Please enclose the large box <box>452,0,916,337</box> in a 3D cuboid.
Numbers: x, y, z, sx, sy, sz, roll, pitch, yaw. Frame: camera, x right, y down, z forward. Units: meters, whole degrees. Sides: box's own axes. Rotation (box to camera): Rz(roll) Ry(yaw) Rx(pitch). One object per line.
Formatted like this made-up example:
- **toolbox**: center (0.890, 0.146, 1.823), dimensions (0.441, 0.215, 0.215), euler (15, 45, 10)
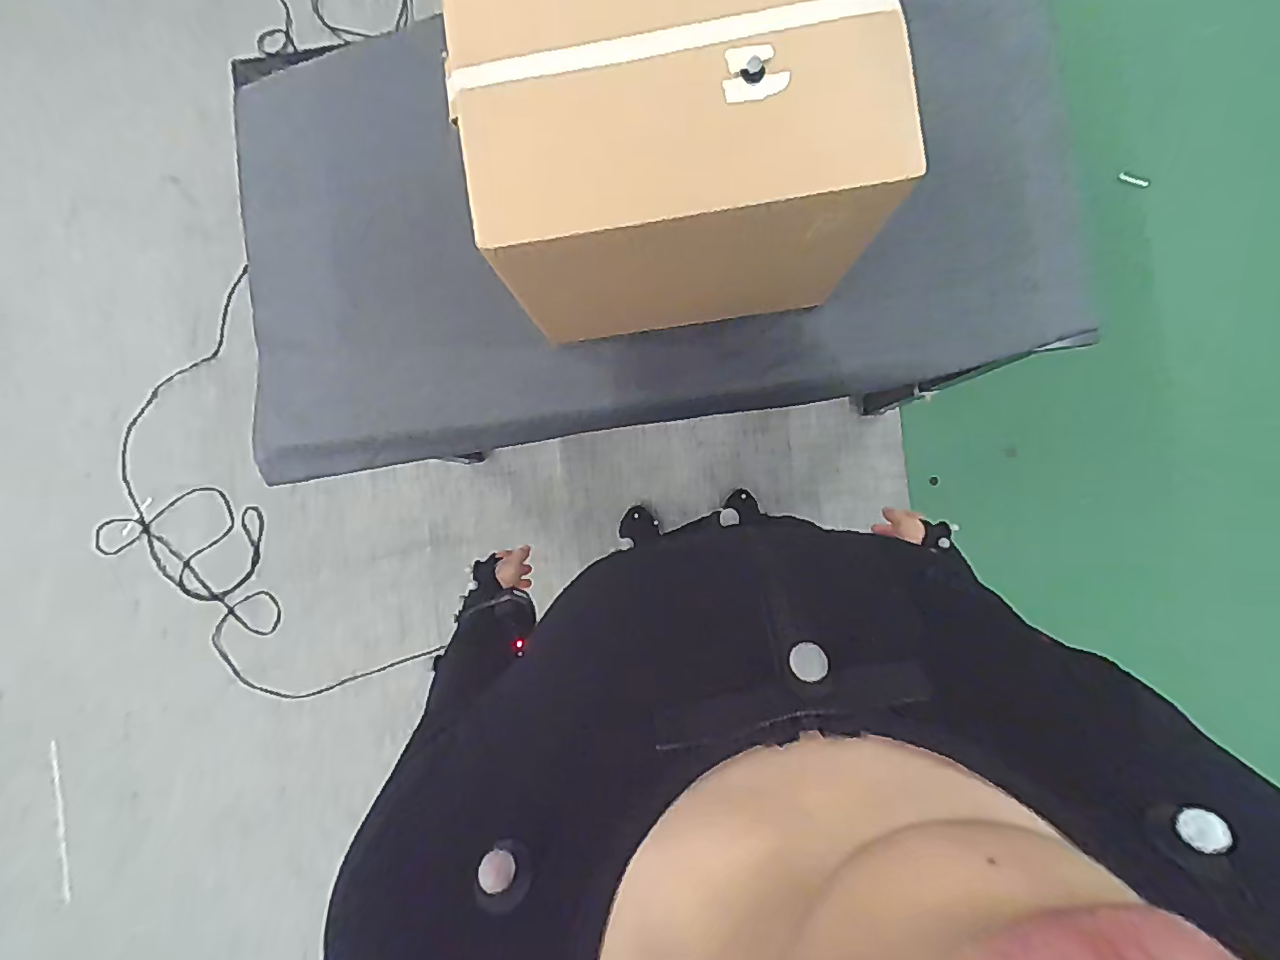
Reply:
- **large box**: center (0.037, -0.394, 0.647), dimensions (0.408, 0.320, 0.320), euler (-8, 88, 3)
